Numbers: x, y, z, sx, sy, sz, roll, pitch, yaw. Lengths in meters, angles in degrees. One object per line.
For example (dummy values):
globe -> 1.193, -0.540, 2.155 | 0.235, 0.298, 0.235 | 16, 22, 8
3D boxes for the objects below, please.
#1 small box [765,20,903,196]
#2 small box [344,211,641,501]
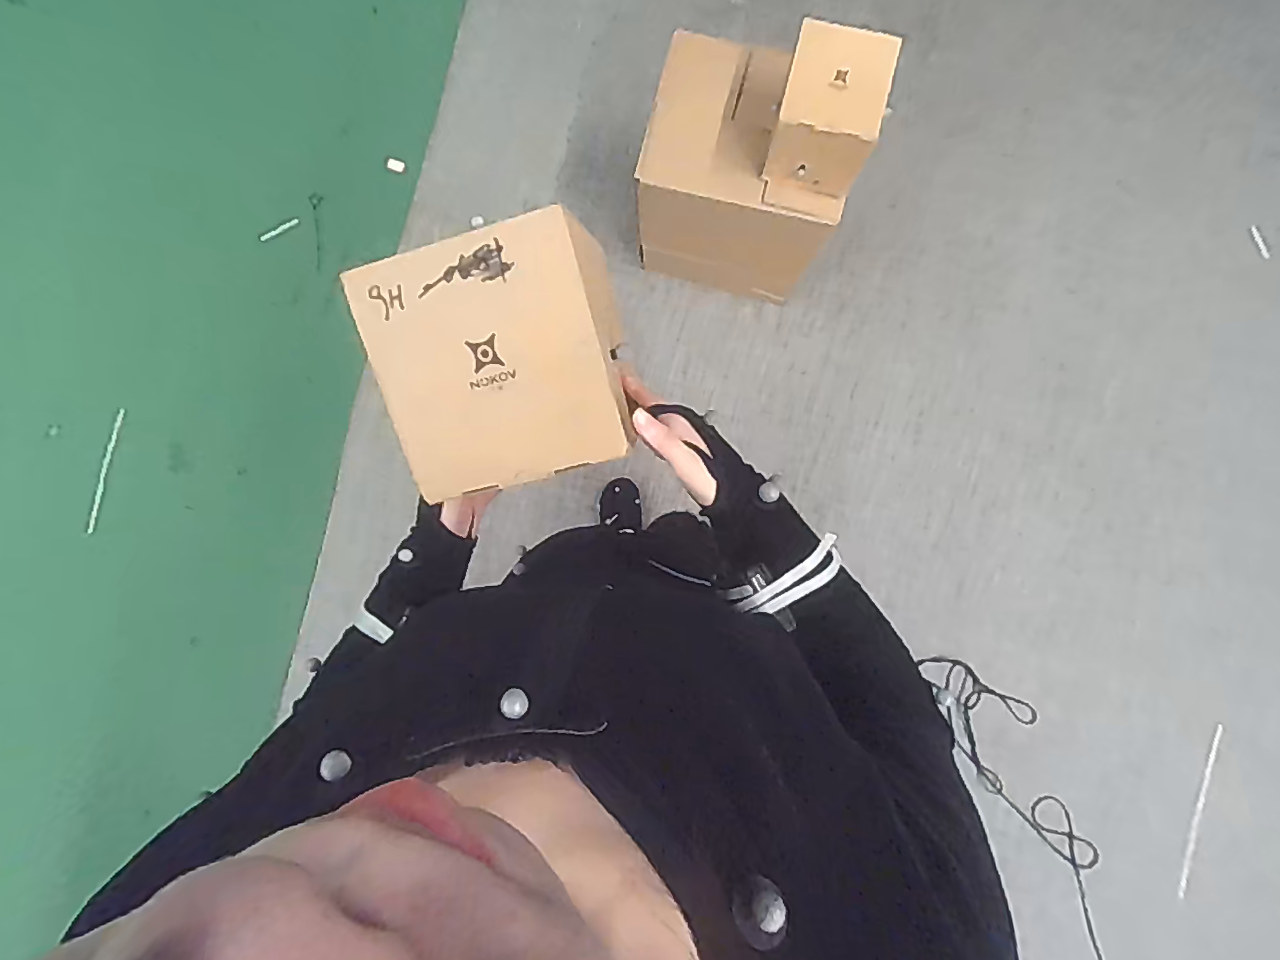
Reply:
small box -> 0.331, -0.645, 0.956 | 0.168, 0.176, 0.179 | 14, 90, 3
small box -> -0.101, -0.103, 0.463 | 0.168, 0.176, 0.179 | -13, 104, 8
